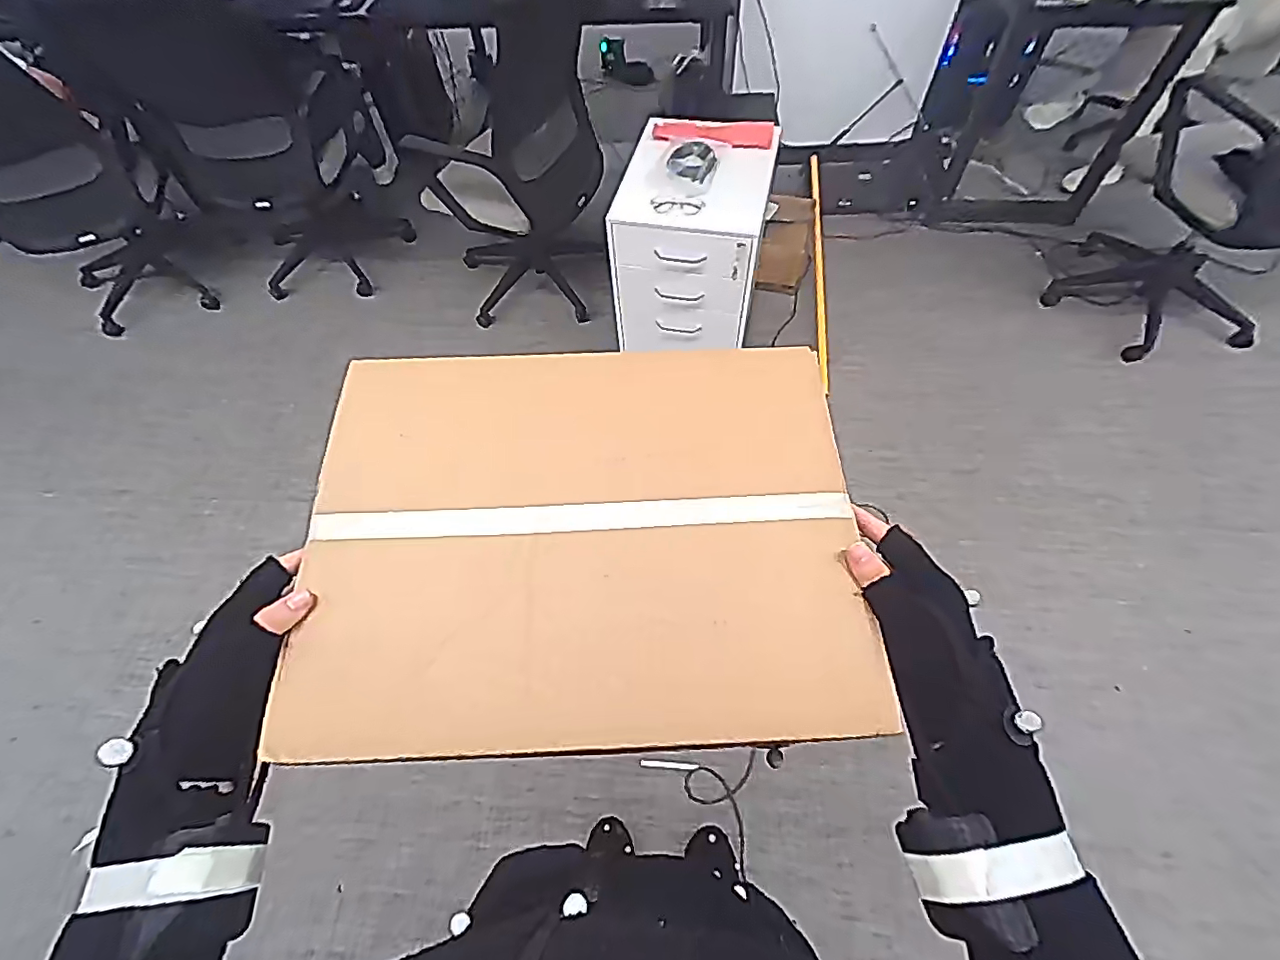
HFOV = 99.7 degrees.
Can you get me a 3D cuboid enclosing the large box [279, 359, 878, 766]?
[{"bbox_3d":[-0.044,0.100,0.552,0.408,0.320,0.320,-2,64,-2],"label":"large box"}]
